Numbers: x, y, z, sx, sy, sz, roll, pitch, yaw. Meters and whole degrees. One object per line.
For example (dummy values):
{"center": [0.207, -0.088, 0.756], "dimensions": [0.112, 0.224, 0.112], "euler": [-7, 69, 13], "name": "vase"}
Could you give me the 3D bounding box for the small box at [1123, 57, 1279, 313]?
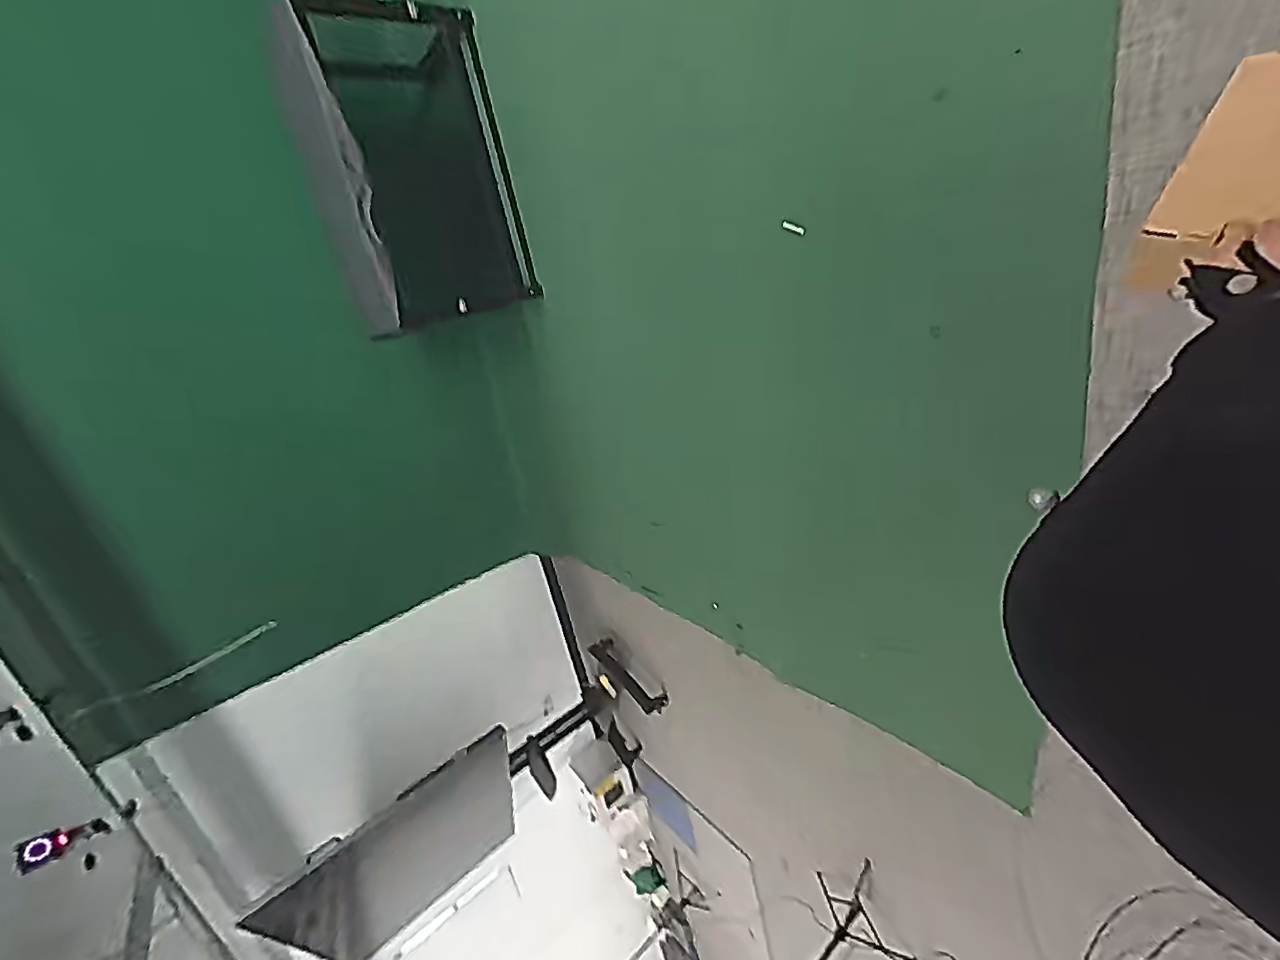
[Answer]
{"center": [0.645, -0.289, 0.547], "dimensions": [0.168, 0.179, 0.176], "euler": [31, 106, 32], "name": "small box"}
